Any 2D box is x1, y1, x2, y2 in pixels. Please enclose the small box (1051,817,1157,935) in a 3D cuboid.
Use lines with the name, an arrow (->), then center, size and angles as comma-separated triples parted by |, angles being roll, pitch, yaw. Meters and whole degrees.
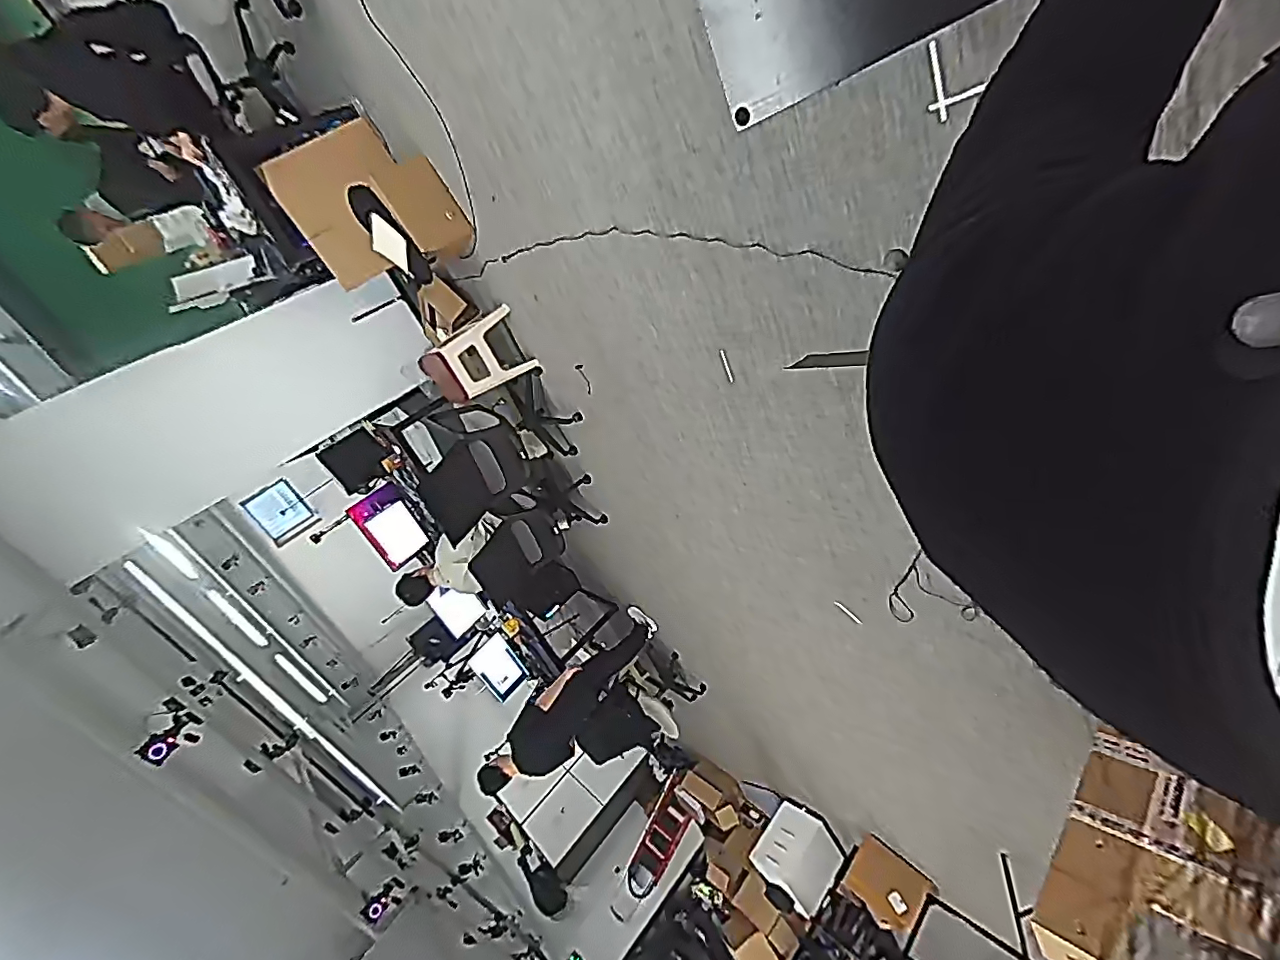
small box -> 1.288, 1.083, 1.501 | 0.179, 0.176, 0.168 | 1, 123, 56

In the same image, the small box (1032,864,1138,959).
small box -> 1.172, 1.168, 1.418 | 0.179, 0.176, 0.168 | 0, 122, 55
